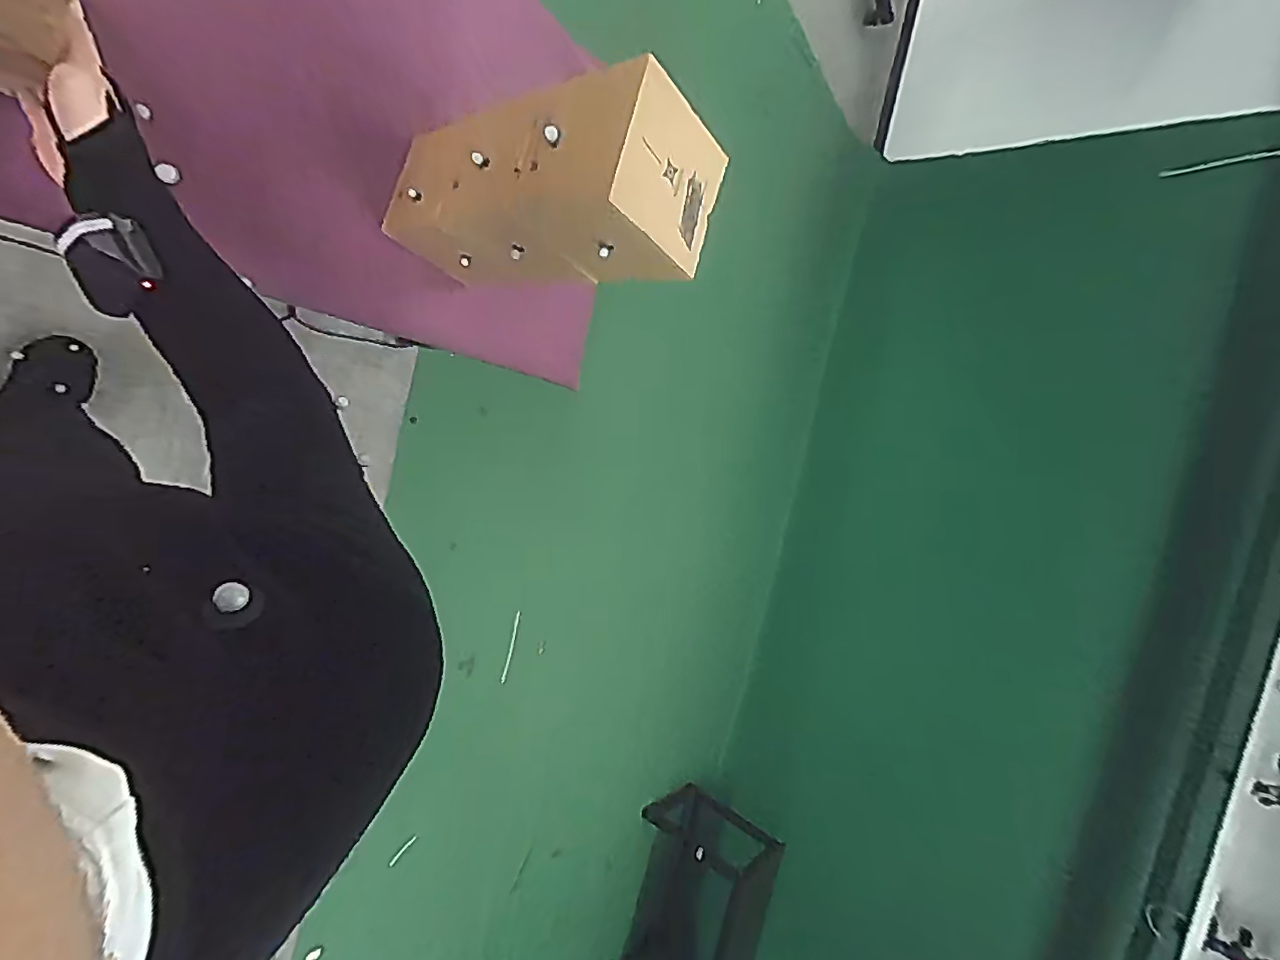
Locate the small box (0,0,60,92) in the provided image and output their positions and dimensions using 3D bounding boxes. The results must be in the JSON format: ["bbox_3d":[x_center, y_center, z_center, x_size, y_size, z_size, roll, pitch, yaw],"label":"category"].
[{"bbox_3d":[-0.600,-0.449,0.434,0.179,0.176,0.168,2,102,-50],"label":"small box"}]

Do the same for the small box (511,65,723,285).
[{"bbox_3d":[-0.027,-0.363,0.680,0.179,0.176,0.168,18,88,-52],"label":"small box"}]

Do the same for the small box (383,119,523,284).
[{"bbox_3d":[-0.280,-0.433,0.877,0.179,0.176,0.168,25,83,-53],"label":"small box"}]
